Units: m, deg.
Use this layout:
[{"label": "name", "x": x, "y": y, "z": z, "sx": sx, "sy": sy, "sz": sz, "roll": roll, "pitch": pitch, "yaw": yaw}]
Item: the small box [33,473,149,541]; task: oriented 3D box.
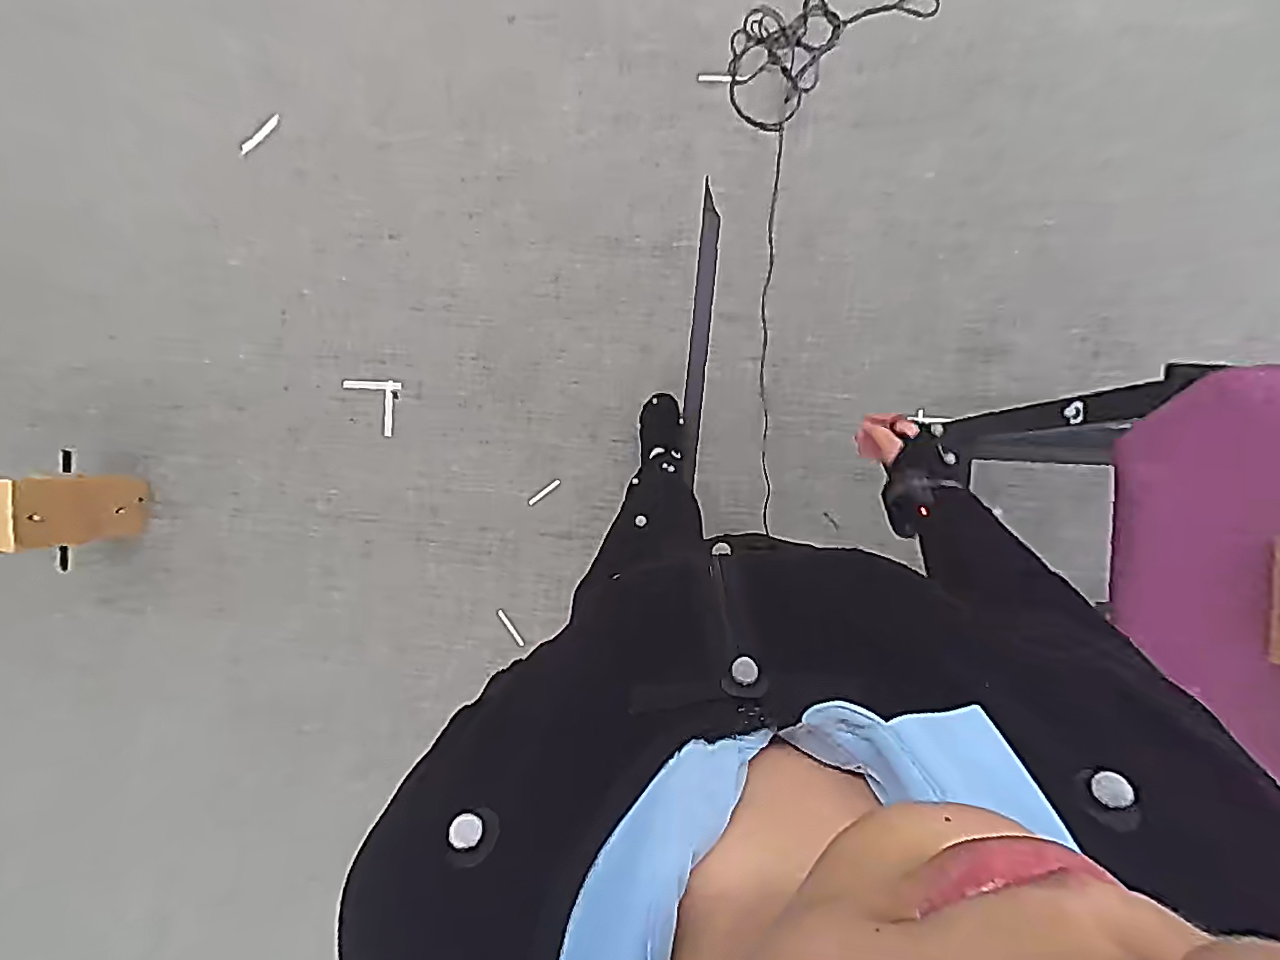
[{"label": "small box", "x": -1.548, "y": 0.070, "z": 1.529, "sx": 0.179, "sy": 0.176, "sz": 0.168, "roll": 8, "pitch": 92, "yaw": 5}]

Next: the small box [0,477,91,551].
[{"label": "small box", "x": -1.551, "y": 0.080, "z": 1.366, "sx": 0.168, "sy": 0.176, "sz": 0.179, "roll": -1, "pitch": 92, "yaw": 4}]
